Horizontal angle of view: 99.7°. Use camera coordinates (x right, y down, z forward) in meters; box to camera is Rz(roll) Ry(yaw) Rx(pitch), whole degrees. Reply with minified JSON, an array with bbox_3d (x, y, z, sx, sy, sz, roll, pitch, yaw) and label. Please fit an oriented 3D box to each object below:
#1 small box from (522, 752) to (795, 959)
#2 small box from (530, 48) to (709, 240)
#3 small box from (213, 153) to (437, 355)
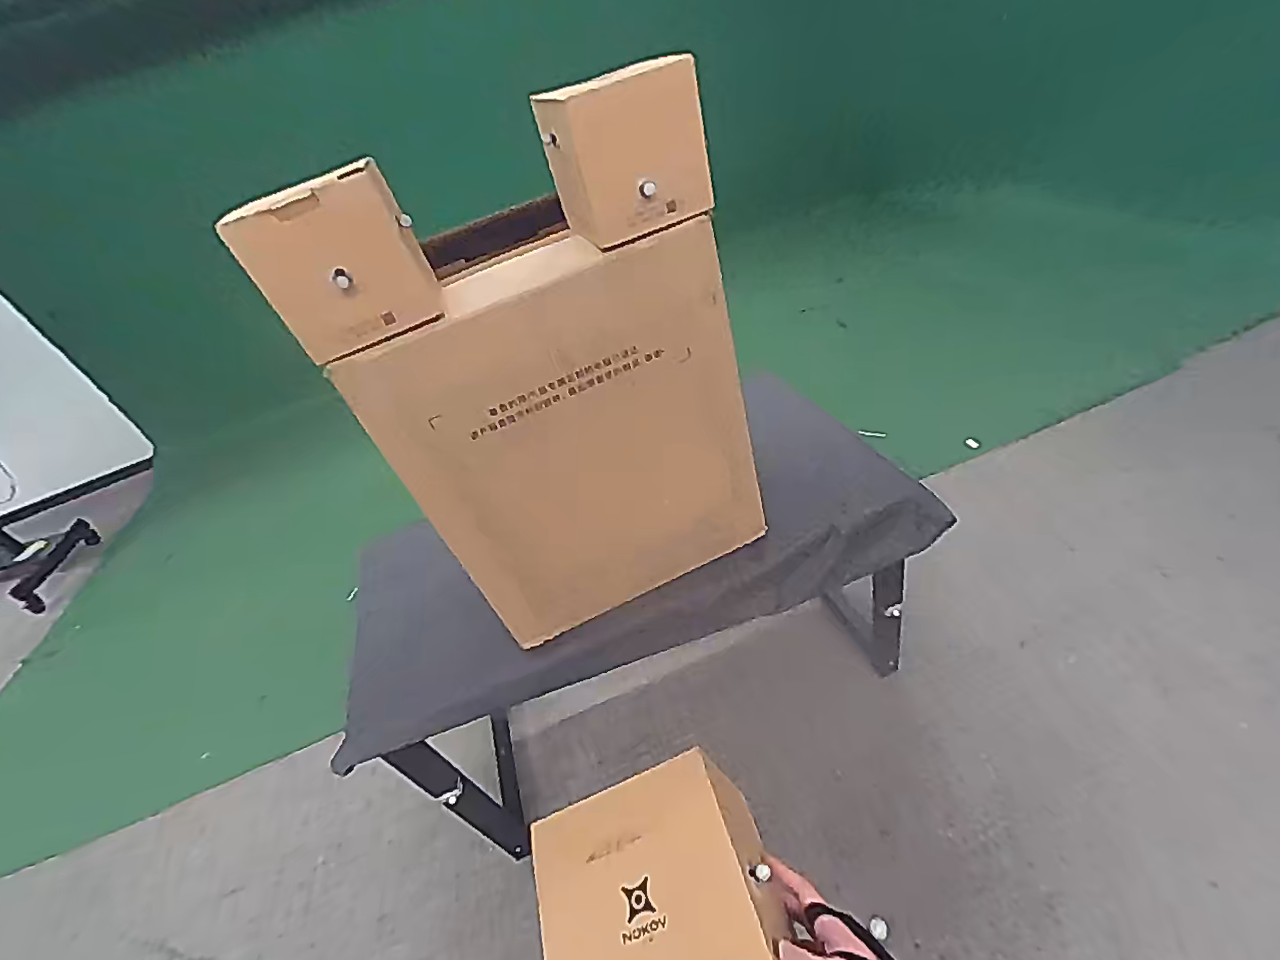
[{"bbox_3d":[0.021,0.370,0.459,0.168,0.176,0.179,-26,42,3],"label":"small box"},{"bbox_3d":[-0.026,-0.435,0.710,0.168,0.176,0.179,-24,40,-7],"label":"small box"},{"bbox_3d":[-0.369,-0.277,0.673,0.168,0.176,0.179,-25,40,-5],"label":"small box"}]
